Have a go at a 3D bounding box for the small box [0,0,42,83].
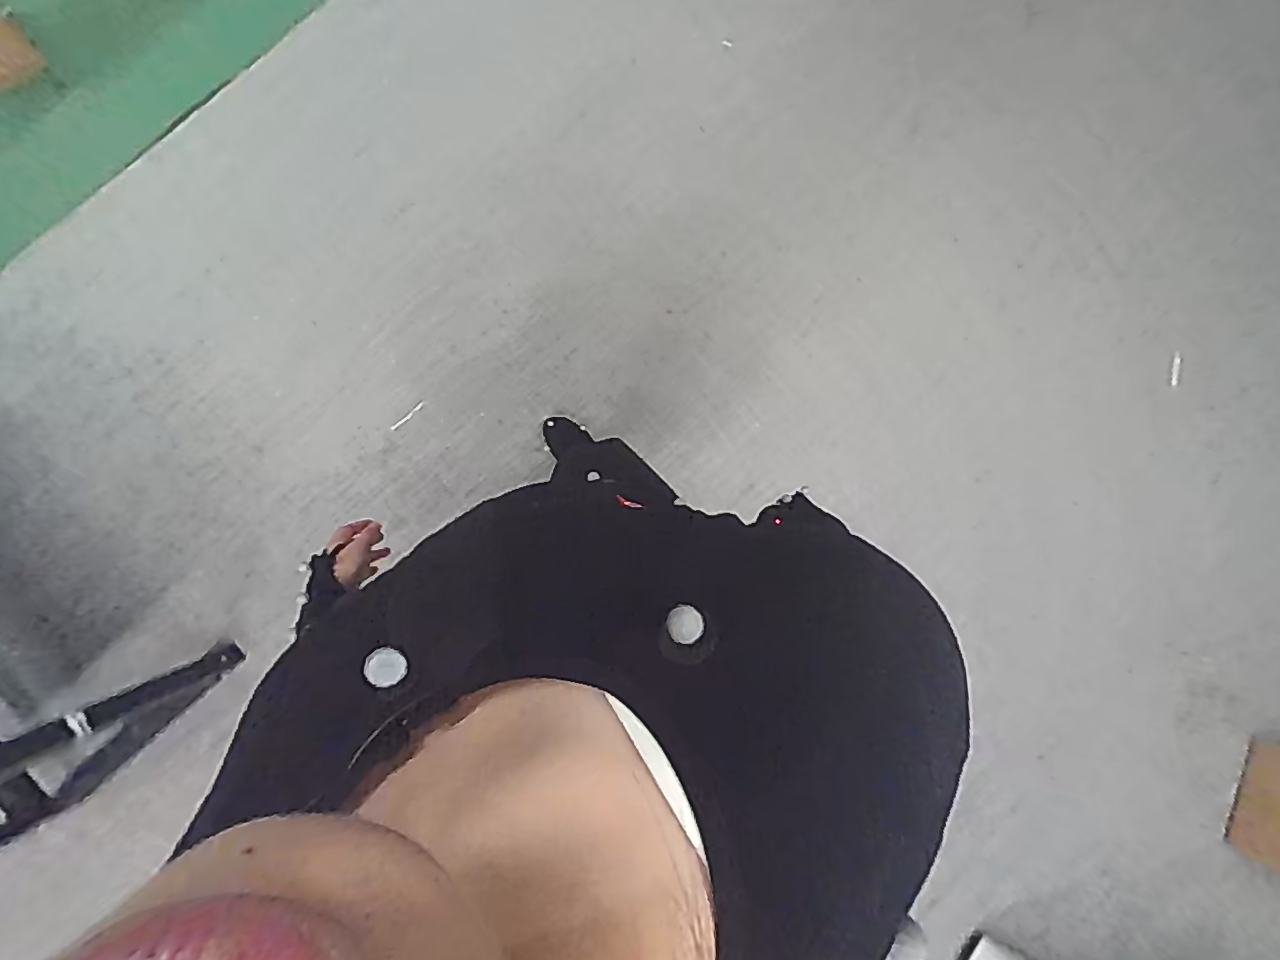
[{"bbox_3d":[-1.670,-1.153,1.345,0.179,0.176,0.168,-34,91,-1],"label":"small box"}]
